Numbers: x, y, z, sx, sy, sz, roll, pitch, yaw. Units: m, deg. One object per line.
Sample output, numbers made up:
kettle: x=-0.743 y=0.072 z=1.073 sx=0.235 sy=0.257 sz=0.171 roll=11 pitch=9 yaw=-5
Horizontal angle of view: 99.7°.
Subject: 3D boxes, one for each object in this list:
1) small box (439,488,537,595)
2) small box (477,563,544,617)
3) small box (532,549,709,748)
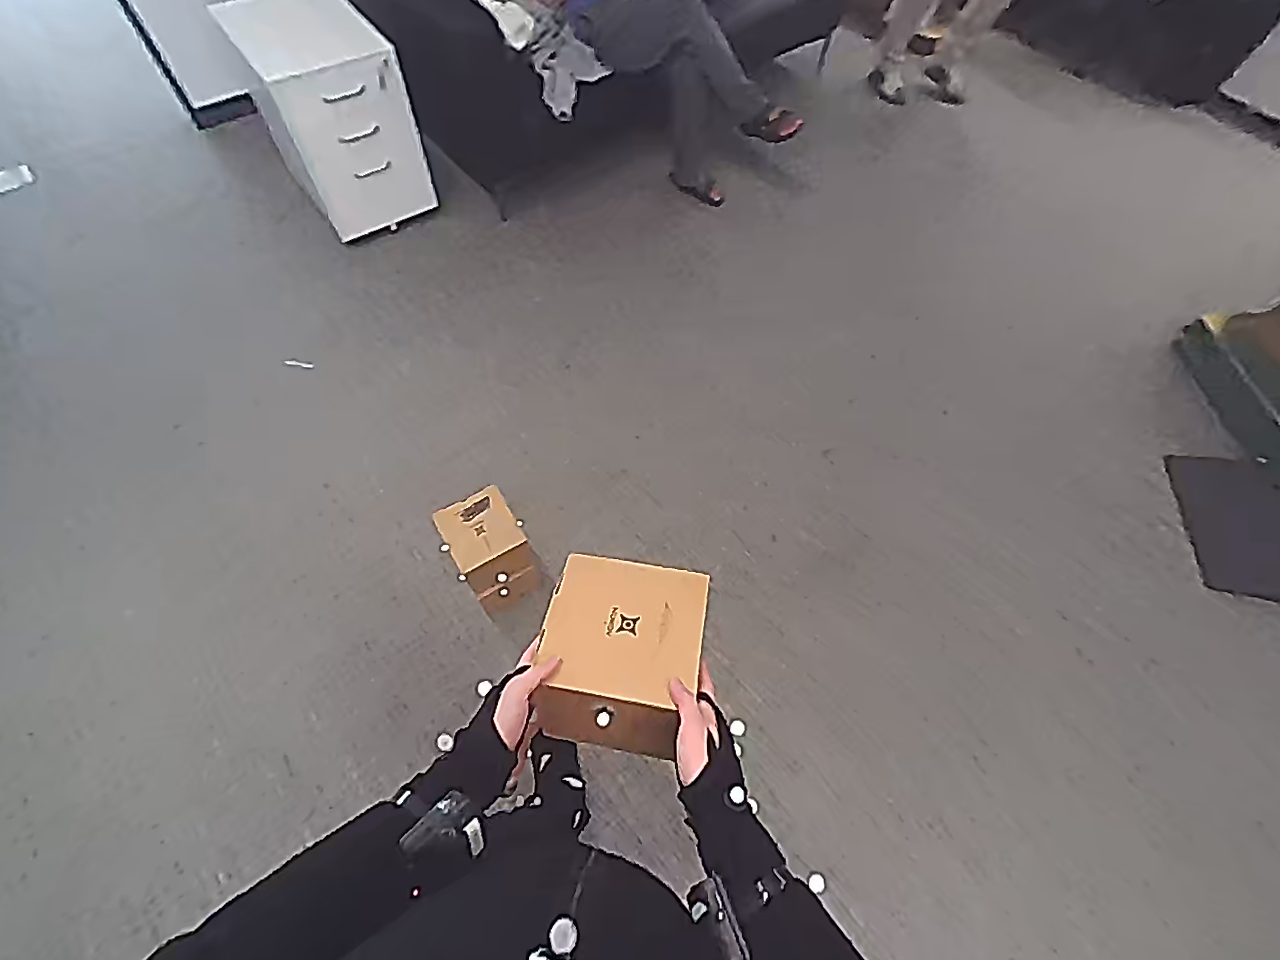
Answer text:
small box: x=-0.370 y=0.157 z=1.340 sx=0.168 sy=0.176 sz=0.179 roll=-28 pitch=67 yaw=-18
small box: x=-0.377 y=0.245 z=1.480 sx=0.168 sy=0.176 sz=0.179 roll=-29 pitch=66 yaw=-19
small box: x=-0.015 y=0.208 z=0.663 sx=0.179 sy=0.176 sz=0.168 roll=7 pitch=47 yaw=6
